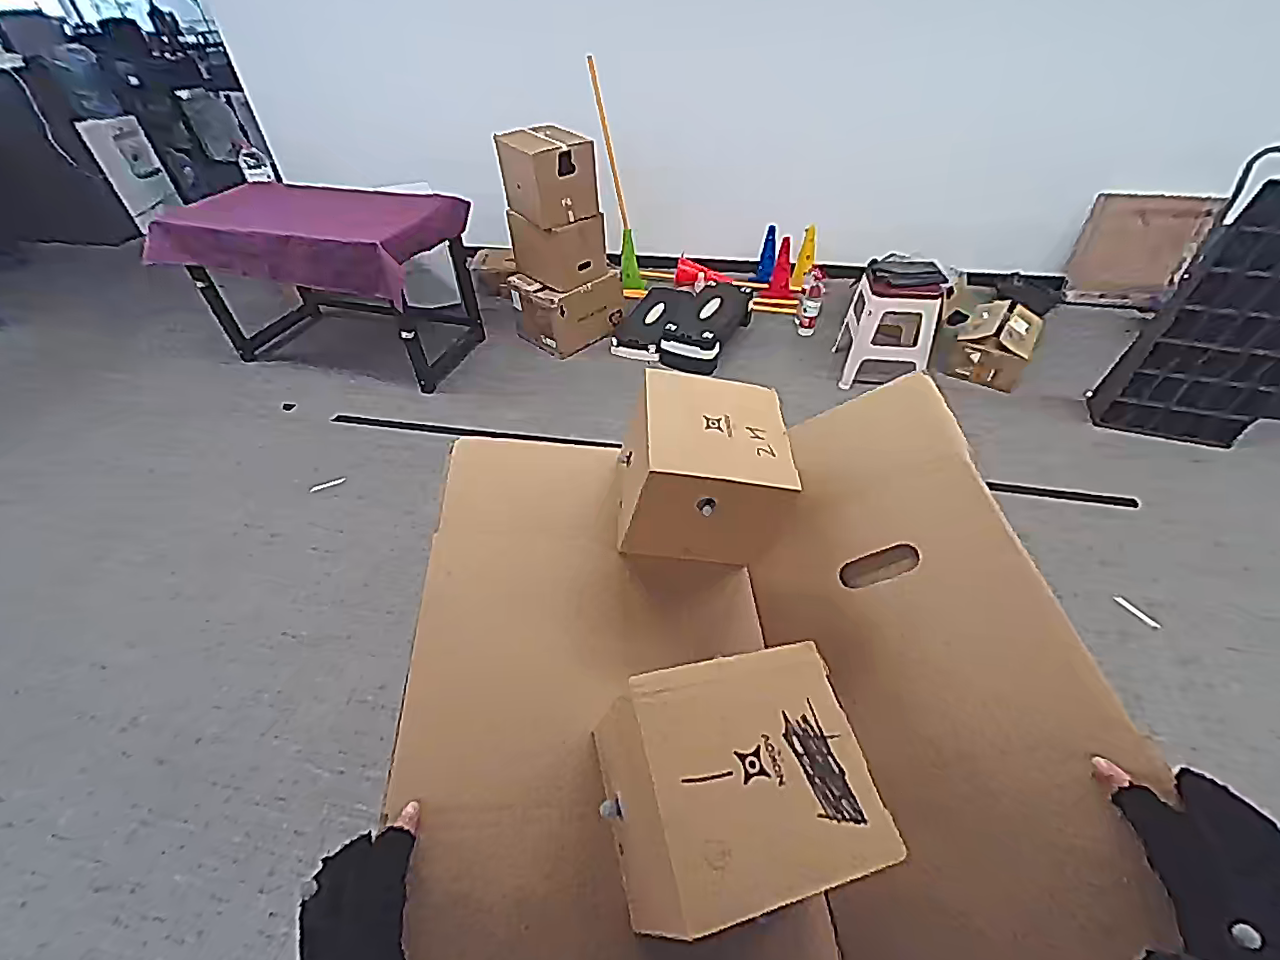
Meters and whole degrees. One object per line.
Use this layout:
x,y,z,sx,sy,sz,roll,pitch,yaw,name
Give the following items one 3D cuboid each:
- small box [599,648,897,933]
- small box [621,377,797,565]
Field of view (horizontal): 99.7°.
0.074,0.267,0.476,0.179,0.176,0.168,-4,54,-18,small box
0.074,-0.005,0.695,0.179,0.176,0.168,8,51,-11,small box
